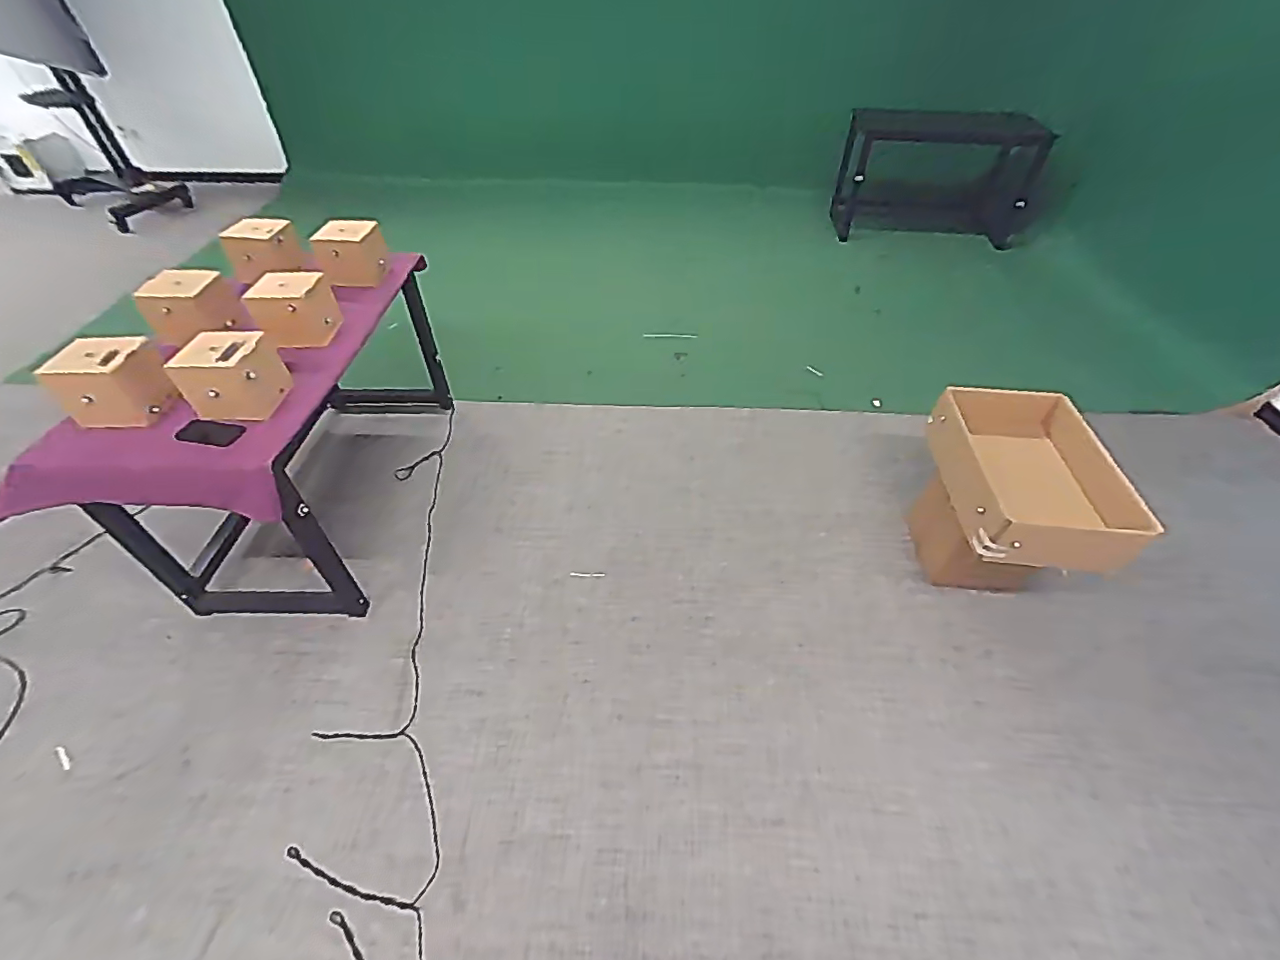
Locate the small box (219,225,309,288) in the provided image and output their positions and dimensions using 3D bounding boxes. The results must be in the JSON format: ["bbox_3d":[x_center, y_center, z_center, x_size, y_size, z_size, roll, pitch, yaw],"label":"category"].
[{"bbox_3d":[-1.352,-0.804,1.956,0.179,0.176,0.168,2,46,2],"label":"small box"}]

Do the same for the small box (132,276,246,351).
[{"bbox_3d":[-1.379,-0.512,1.667,0.179,0.176,0.168,1,46,-1],"label":"small box"}]

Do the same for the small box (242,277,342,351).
[{"bbox_3d":[-1.061,-0.508,1.665,0.179,0.176,0.168,-1,45,-1],"label":"small box"}]

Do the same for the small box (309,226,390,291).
[{"bbox_3d":[-1.034,-0.795,1.943,0.179,0.176,0.168,2,47,2],"label":"small box"}]

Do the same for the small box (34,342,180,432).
[{"bbox_3d":[-1.354,-0.238,1.393,0.179,0.176,0.168,-2,45,-2],"label":"small box"}]
